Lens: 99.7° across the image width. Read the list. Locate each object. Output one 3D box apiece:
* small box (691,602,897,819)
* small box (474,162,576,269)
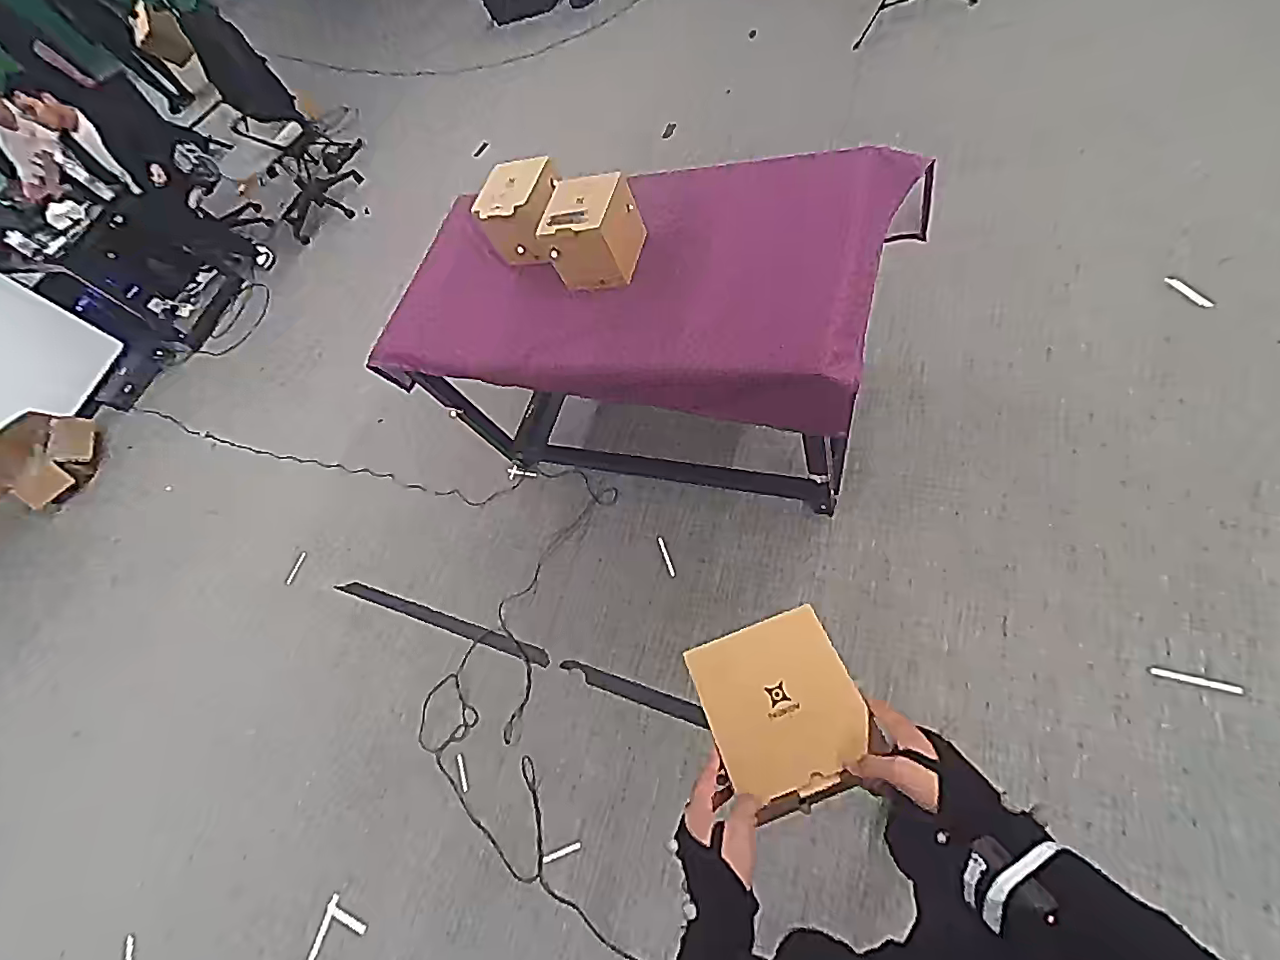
[{"bbox_3d":[0.173,0.281,0.654,0.168,0.176,0.179,-21,52,-2],"label":"small box"},{"bbox_3d":[-0.283,-0.669,1.379,0.168,0.176,0.179,6,67,26],"label":"small box"}]
